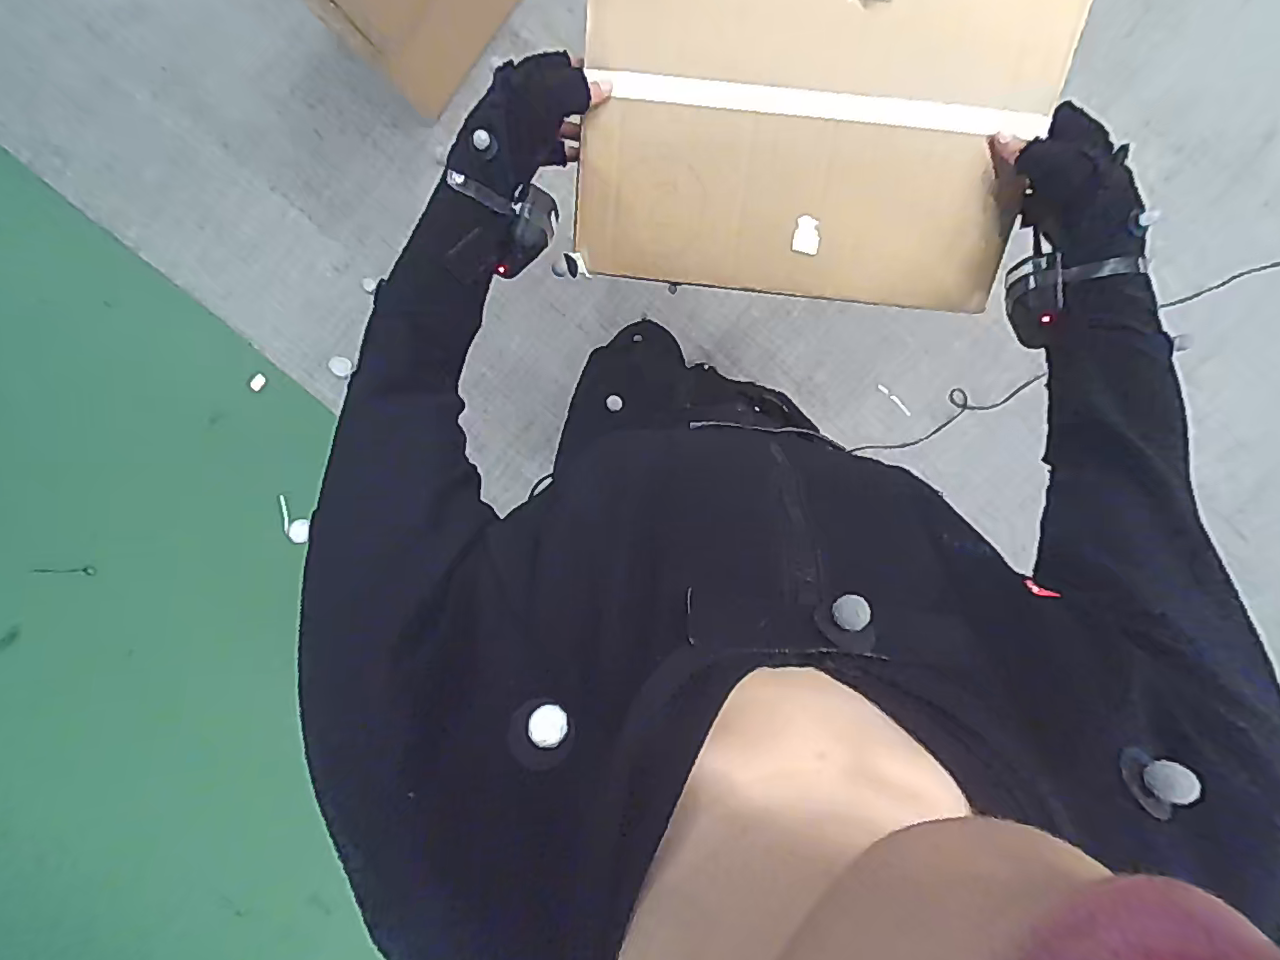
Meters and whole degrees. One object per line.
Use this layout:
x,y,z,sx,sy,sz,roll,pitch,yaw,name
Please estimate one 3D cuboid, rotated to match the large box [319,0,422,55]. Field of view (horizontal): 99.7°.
-0.470,-0.997,0.813,0.320,0.320,0.408,39,102,-8,large box
